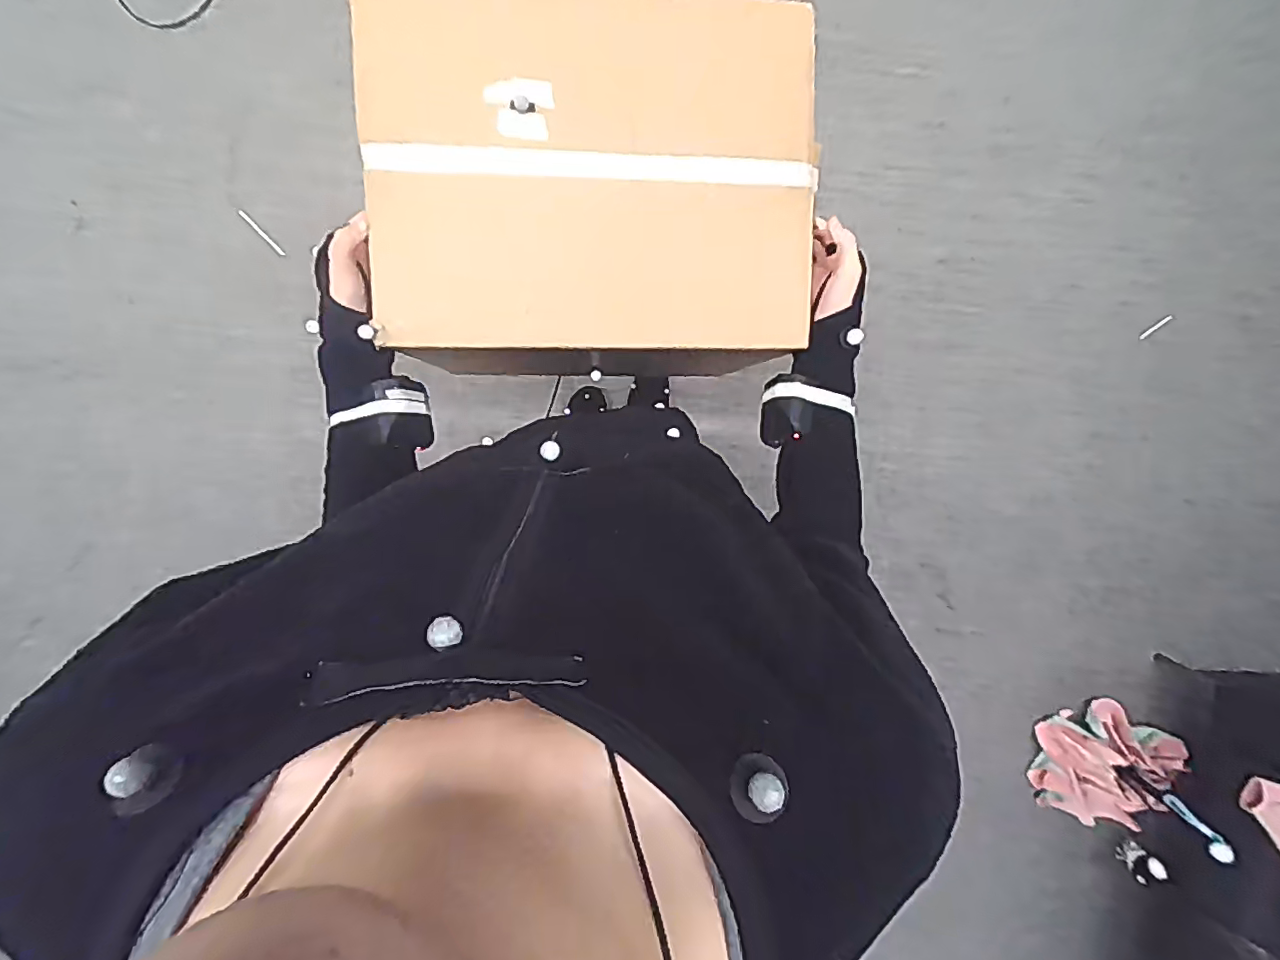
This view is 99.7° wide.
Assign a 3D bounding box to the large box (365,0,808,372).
[{"bbox_3d":[-0.052,-0.296,0.647,0.408,0.320,0.320,-1,96,-6],"label":"large box"}]
